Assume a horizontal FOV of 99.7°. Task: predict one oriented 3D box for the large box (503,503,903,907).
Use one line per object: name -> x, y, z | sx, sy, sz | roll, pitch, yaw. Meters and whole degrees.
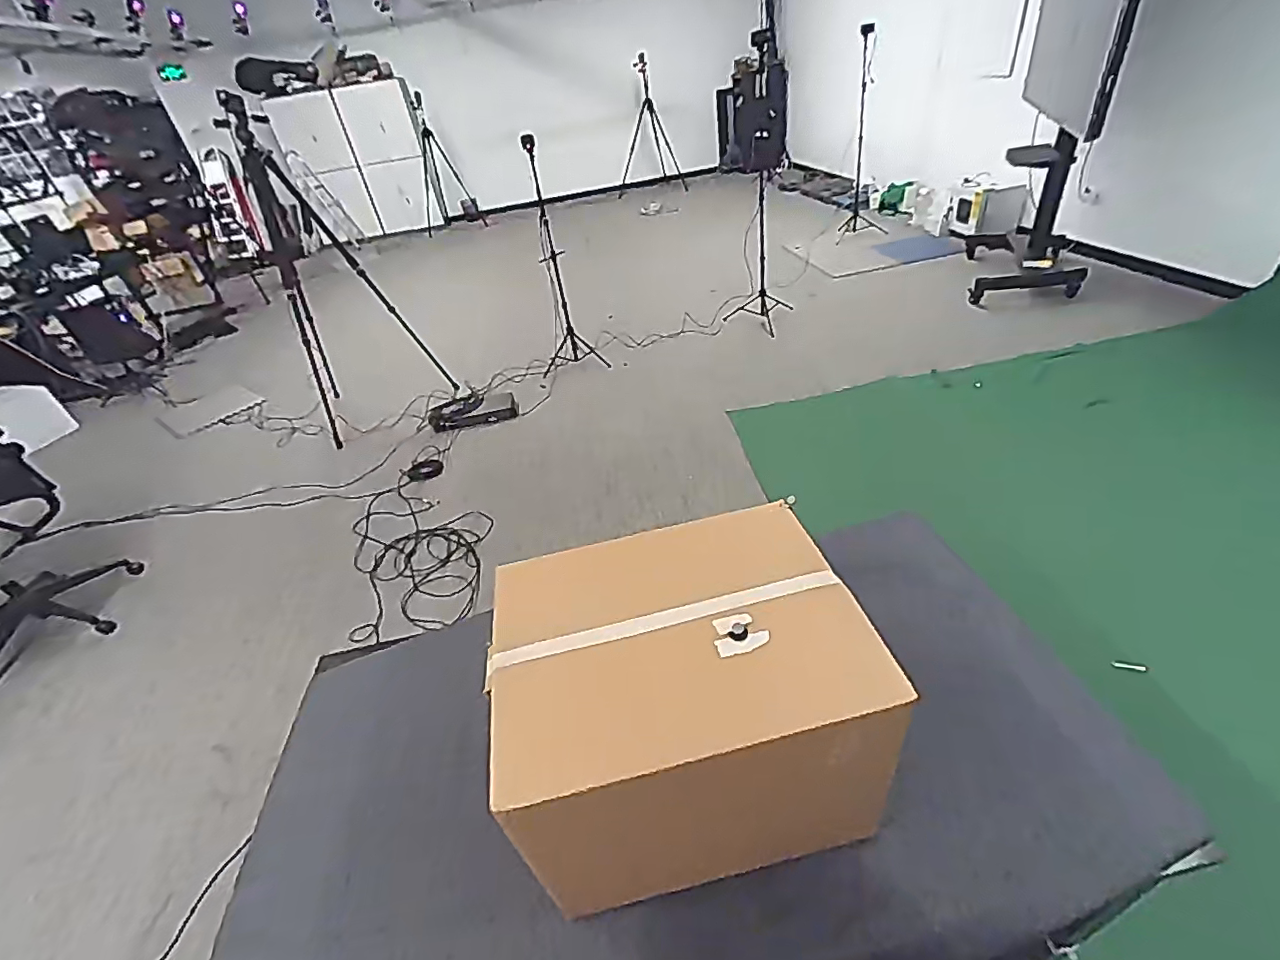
large box -> 0.056, 0.281, 0.713 | 0.408, 0.320, 0.320 | -13, 37, -5
